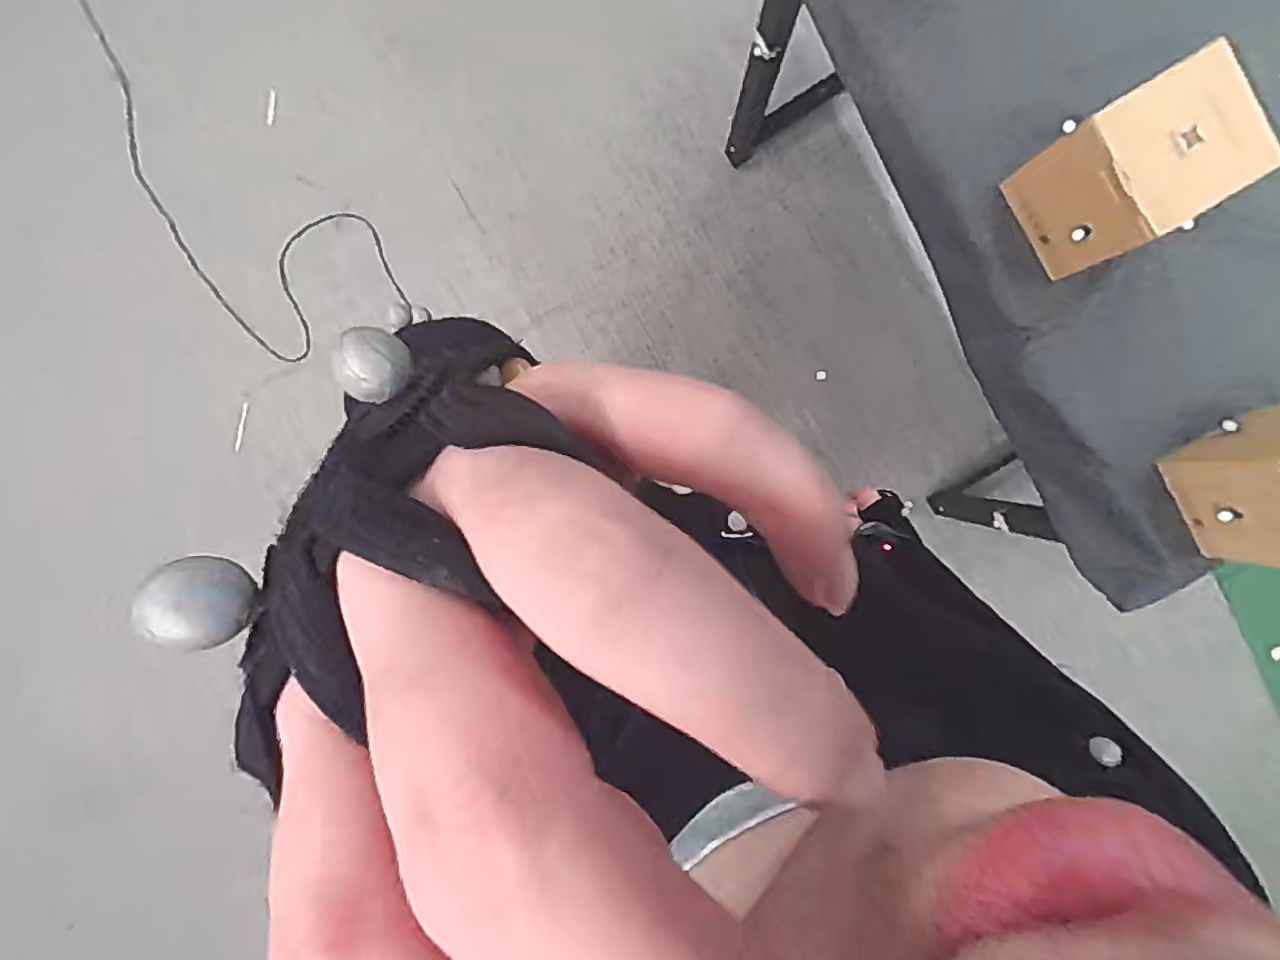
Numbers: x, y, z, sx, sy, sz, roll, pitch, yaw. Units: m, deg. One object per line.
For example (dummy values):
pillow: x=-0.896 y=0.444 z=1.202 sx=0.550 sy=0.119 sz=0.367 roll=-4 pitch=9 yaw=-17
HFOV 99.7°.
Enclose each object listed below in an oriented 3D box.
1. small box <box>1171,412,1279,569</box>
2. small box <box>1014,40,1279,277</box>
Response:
small box: x=0.874 y=0.013 z=0.718 sx=0.179 sy=0.176 sz=0.168 roll=-28 pitch=91 yaw=2
small box: x=0.633 y=-0.394 z=0.700 sx=0.179 sy=0.176 sz=0.168 roll=-31 pitch=94 yaw=1
